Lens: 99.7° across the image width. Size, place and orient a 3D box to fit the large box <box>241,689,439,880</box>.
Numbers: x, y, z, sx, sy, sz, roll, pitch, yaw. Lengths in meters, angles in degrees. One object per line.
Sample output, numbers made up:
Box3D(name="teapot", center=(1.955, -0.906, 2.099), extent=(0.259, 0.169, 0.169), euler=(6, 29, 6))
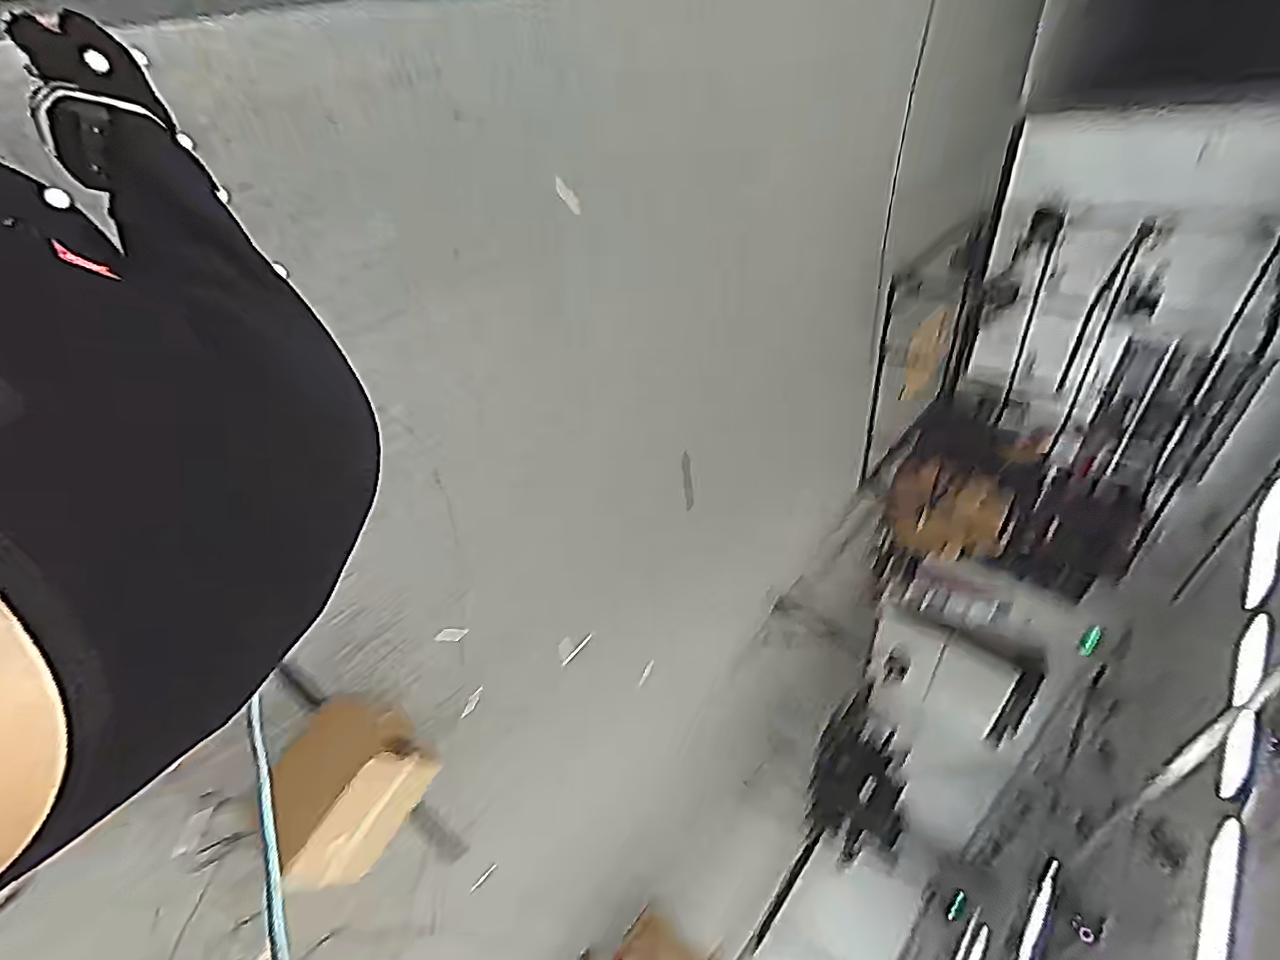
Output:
Box3D(name="large box", center=(-0.933, 0.937, 1.704), extent=(0.408, 0.320, 0.320), euler=(-55, 144, -12))
